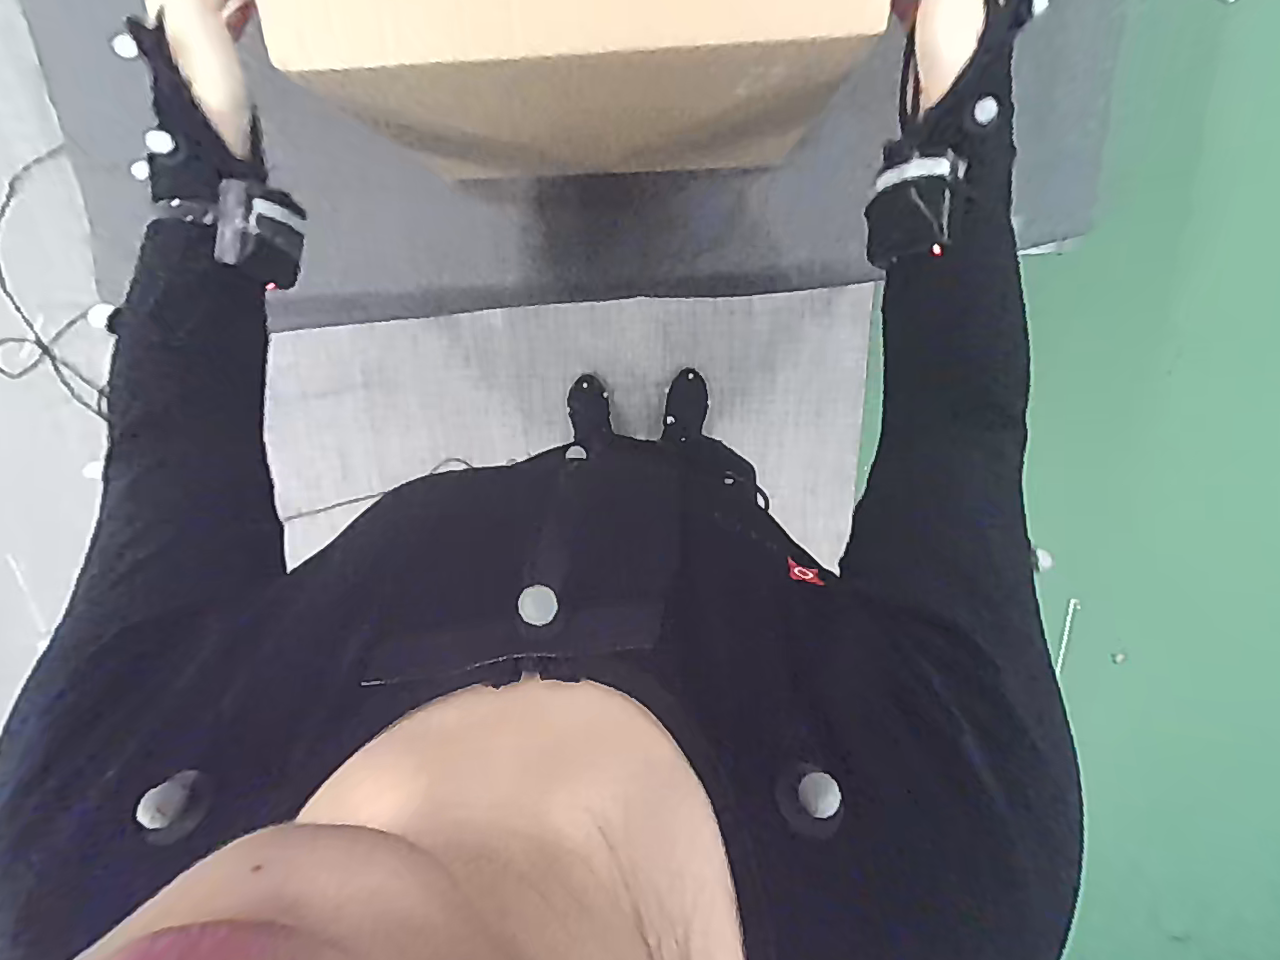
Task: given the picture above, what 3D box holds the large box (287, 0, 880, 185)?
[{"bbox_3d":[-0.045,-0.475,0.471,0.408,0.320,0.320,-2,107,2],"label":"large box"}]
